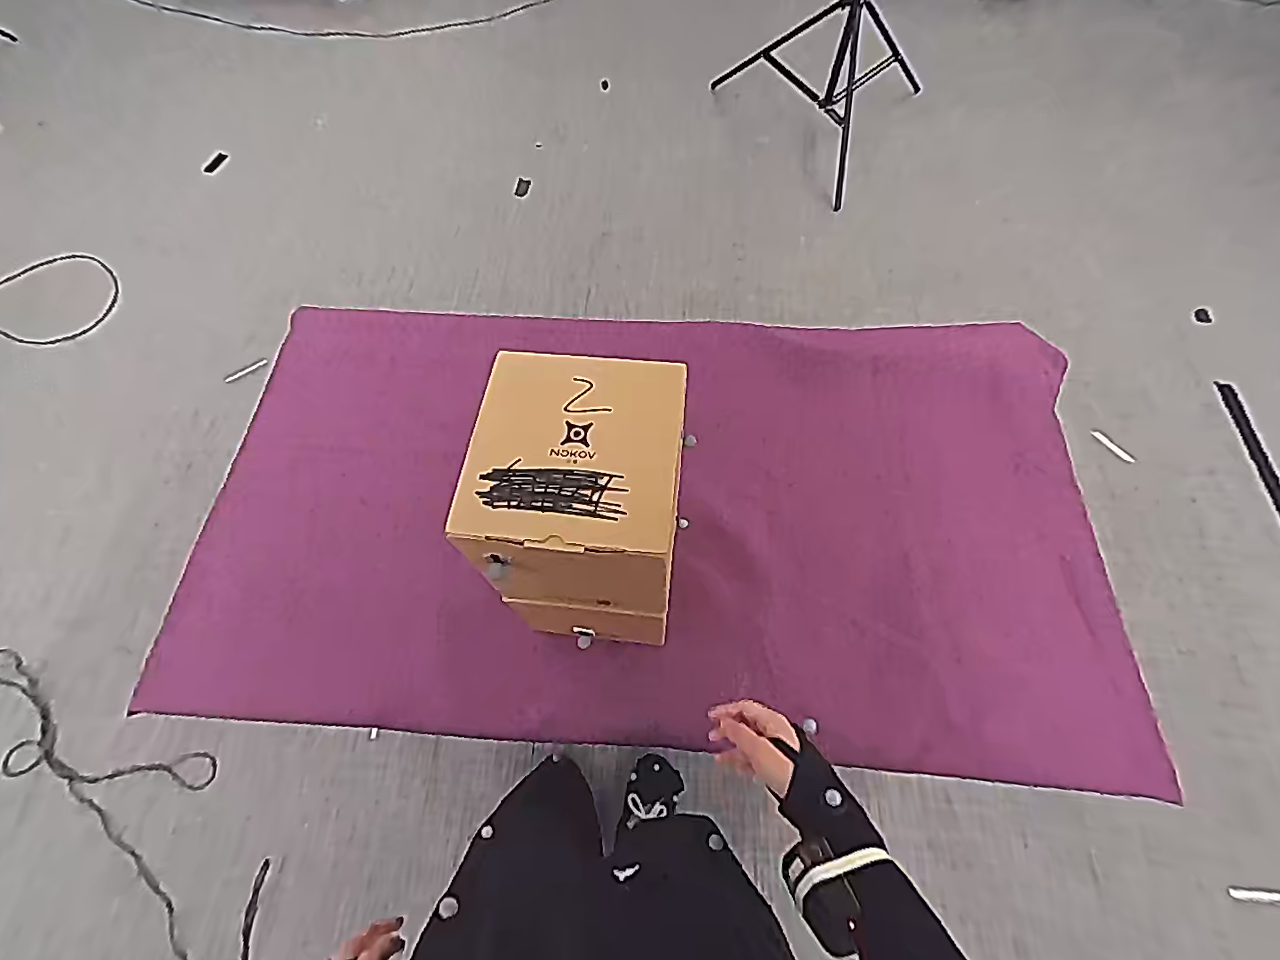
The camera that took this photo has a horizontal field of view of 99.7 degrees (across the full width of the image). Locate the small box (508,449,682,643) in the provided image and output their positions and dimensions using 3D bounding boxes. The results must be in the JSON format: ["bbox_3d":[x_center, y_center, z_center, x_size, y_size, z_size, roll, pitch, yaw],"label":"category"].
[{"bbox_3d":[-0.042,0.084,0.645,0.168,0.176,0.179,5,65,4],"label":"small box"}]
